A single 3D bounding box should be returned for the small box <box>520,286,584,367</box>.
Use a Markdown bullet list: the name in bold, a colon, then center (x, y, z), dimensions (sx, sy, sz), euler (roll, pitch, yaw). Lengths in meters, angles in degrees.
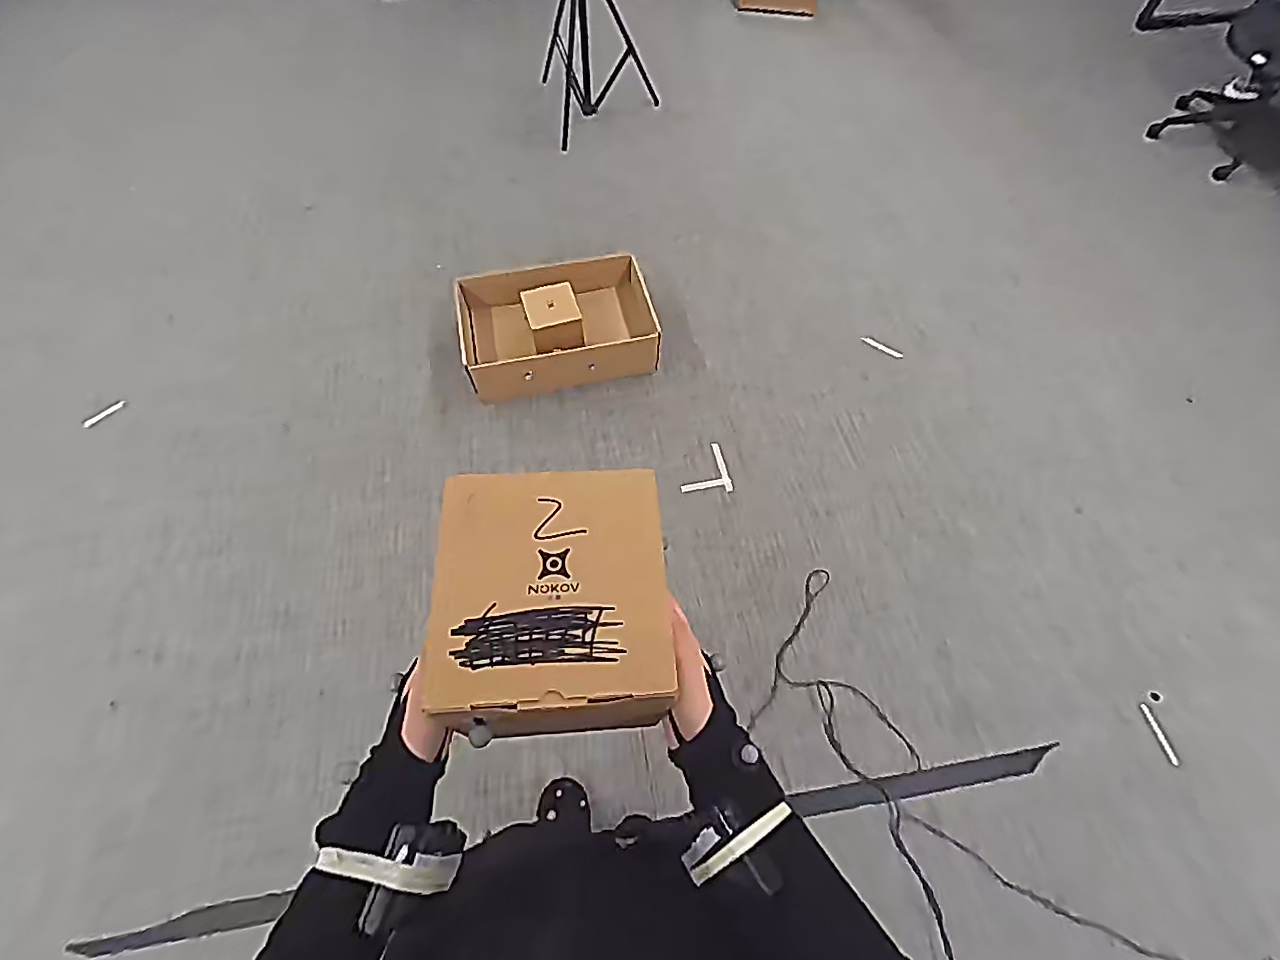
- **small box**: center (-0.289, -0.505, 1.793), dimensions (0.168, 0.176, 0.179), euler (-17, 64, -9)
